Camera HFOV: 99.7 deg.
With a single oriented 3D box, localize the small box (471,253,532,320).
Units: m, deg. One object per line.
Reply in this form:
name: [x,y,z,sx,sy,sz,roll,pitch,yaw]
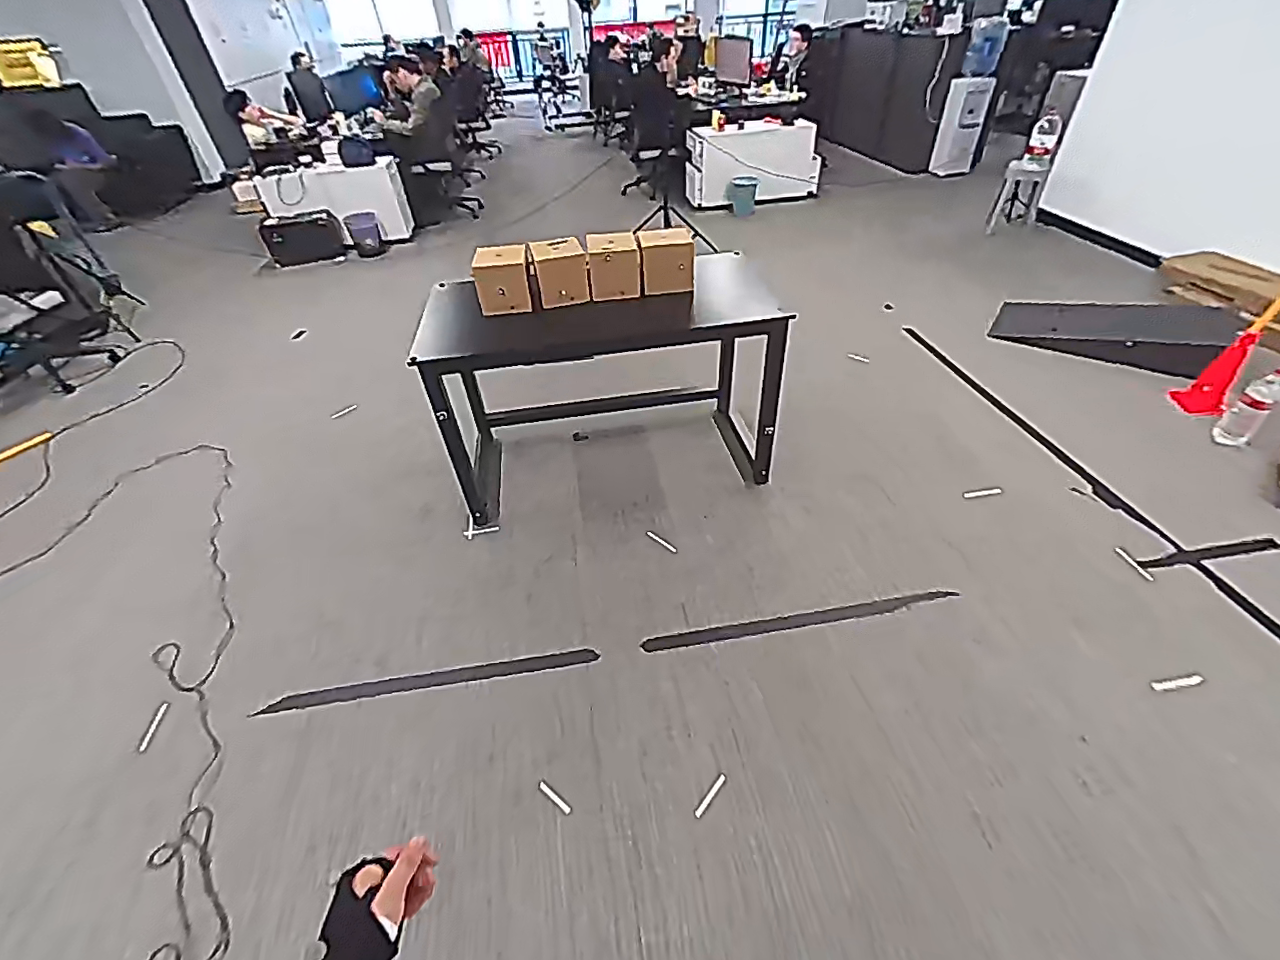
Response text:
small box: [-0.467,-0.658,1.854,0.168,0.176,0.179,-6,41,-3]
